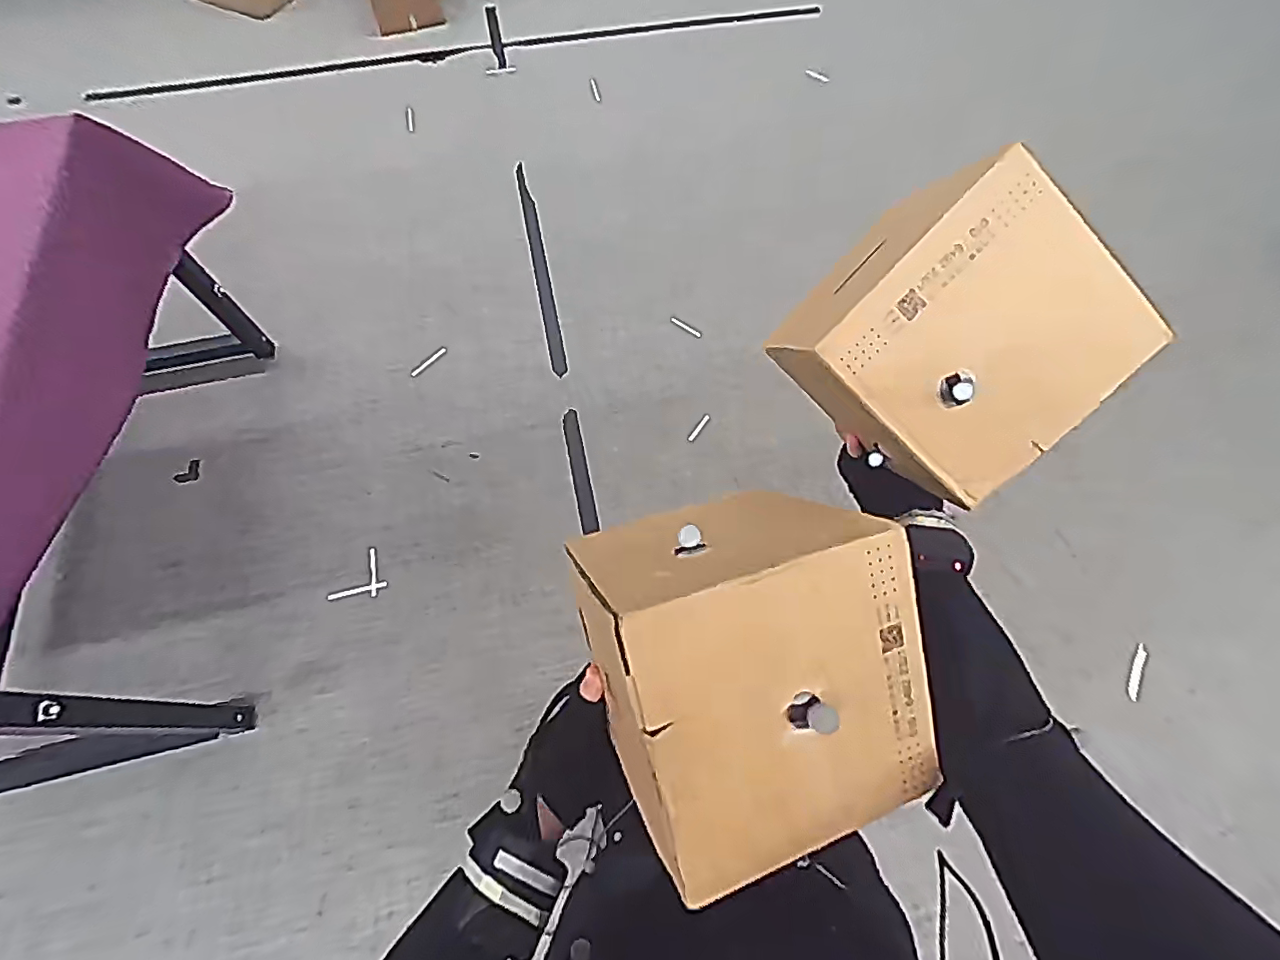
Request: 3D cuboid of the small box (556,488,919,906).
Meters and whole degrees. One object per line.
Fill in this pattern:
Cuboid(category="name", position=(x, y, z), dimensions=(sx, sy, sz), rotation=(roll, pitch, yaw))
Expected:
Cuboid(category="small box", position=(0.057, 0.108, 0.357), dimensions=(0.176, 0.179, 0.168), rotation=(-14, 99, -16))

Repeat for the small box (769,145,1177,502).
Cuboid(category="small box", position=(0.225, -0.116, 0.421), dimensions=(0.176, 0.179, 0.168), rotation=(43, 101, -10))
